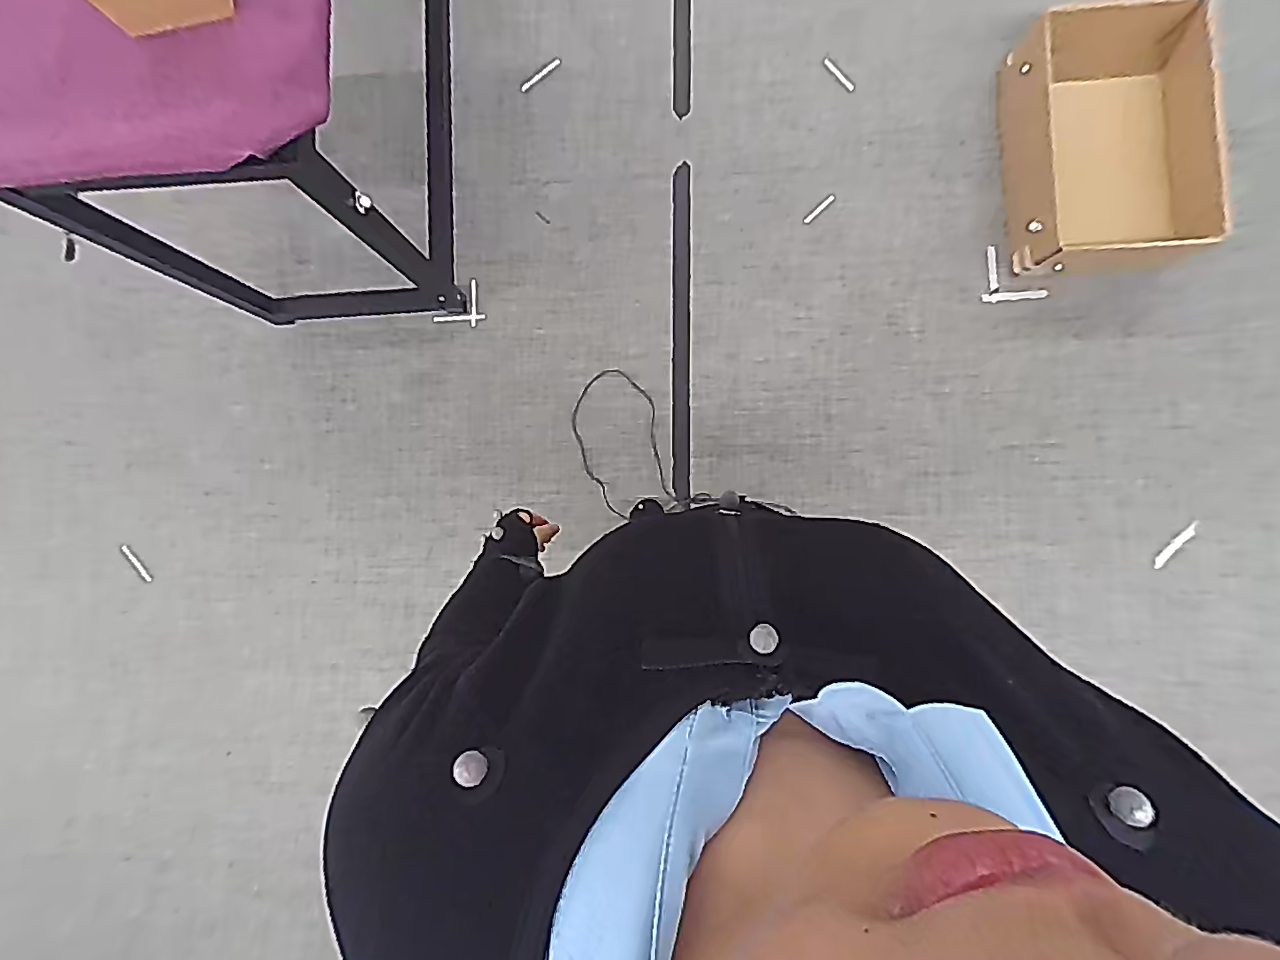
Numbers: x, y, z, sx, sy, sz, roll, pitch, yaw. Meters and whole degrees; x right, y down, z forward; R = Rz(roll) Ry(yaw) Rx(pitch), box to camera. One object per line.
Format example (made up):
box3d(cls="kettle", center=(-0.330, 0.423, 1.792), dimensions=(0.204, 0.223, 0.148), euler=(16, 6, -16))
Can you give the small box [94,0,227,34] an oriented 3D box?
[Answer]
box3d(cls="small box", center=(-0.736, -0.800, 0.780), dimensions=(0.179, 0.176, 0.168), euler=(-9, 87, 3))
